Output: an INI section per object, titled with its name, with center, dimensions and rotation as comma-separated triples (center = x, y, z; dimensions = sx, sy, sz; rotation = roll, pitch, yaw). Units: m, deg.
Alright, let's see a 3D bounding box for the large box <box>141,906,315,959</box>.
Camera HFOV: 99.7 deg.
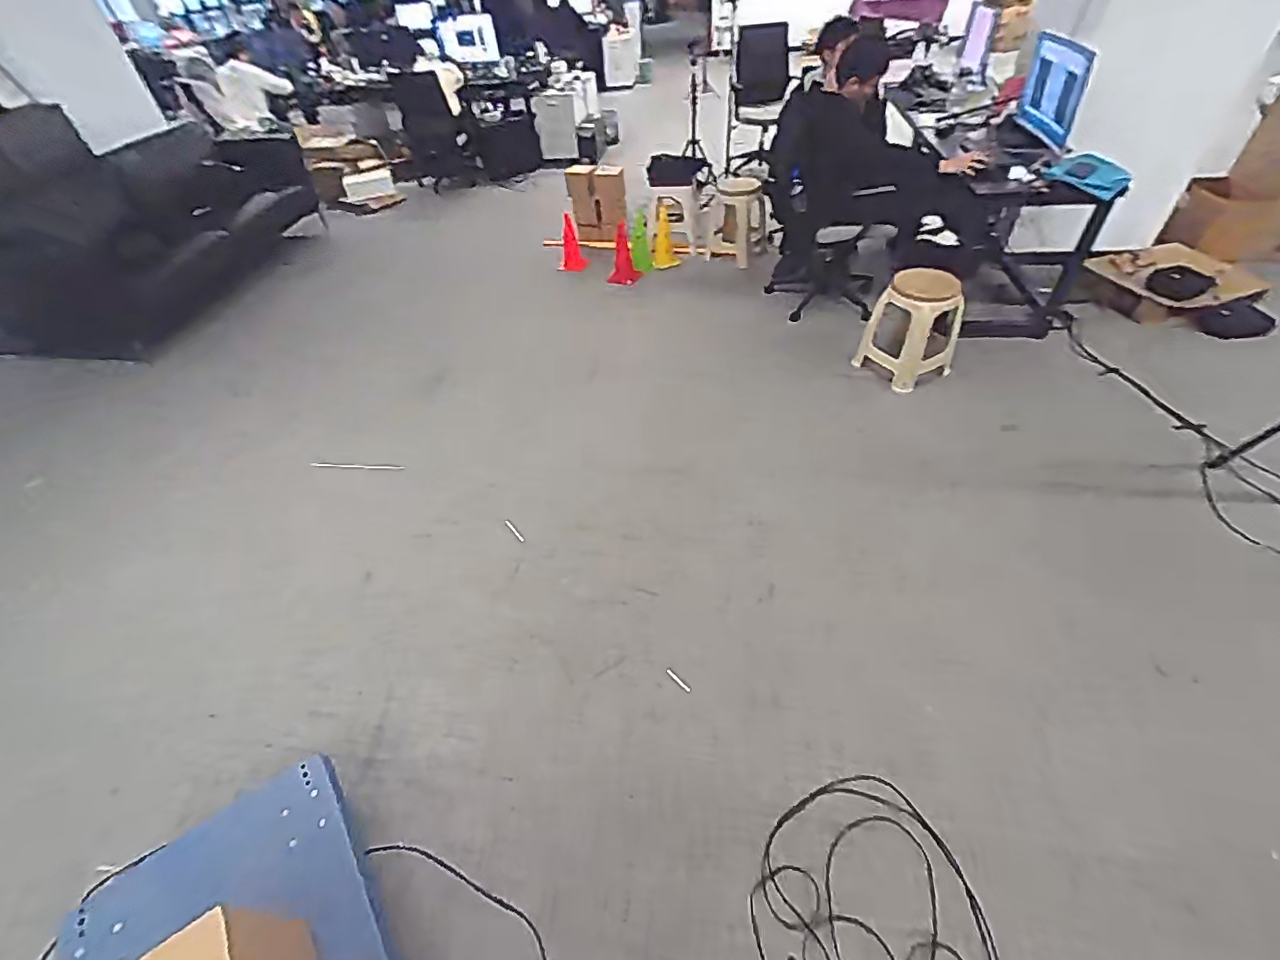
[large box]
center = -0.723, 1.026, 0.879
dimensions = 0.320, 0.320, 0.408
rotation = -30, 49, -23
